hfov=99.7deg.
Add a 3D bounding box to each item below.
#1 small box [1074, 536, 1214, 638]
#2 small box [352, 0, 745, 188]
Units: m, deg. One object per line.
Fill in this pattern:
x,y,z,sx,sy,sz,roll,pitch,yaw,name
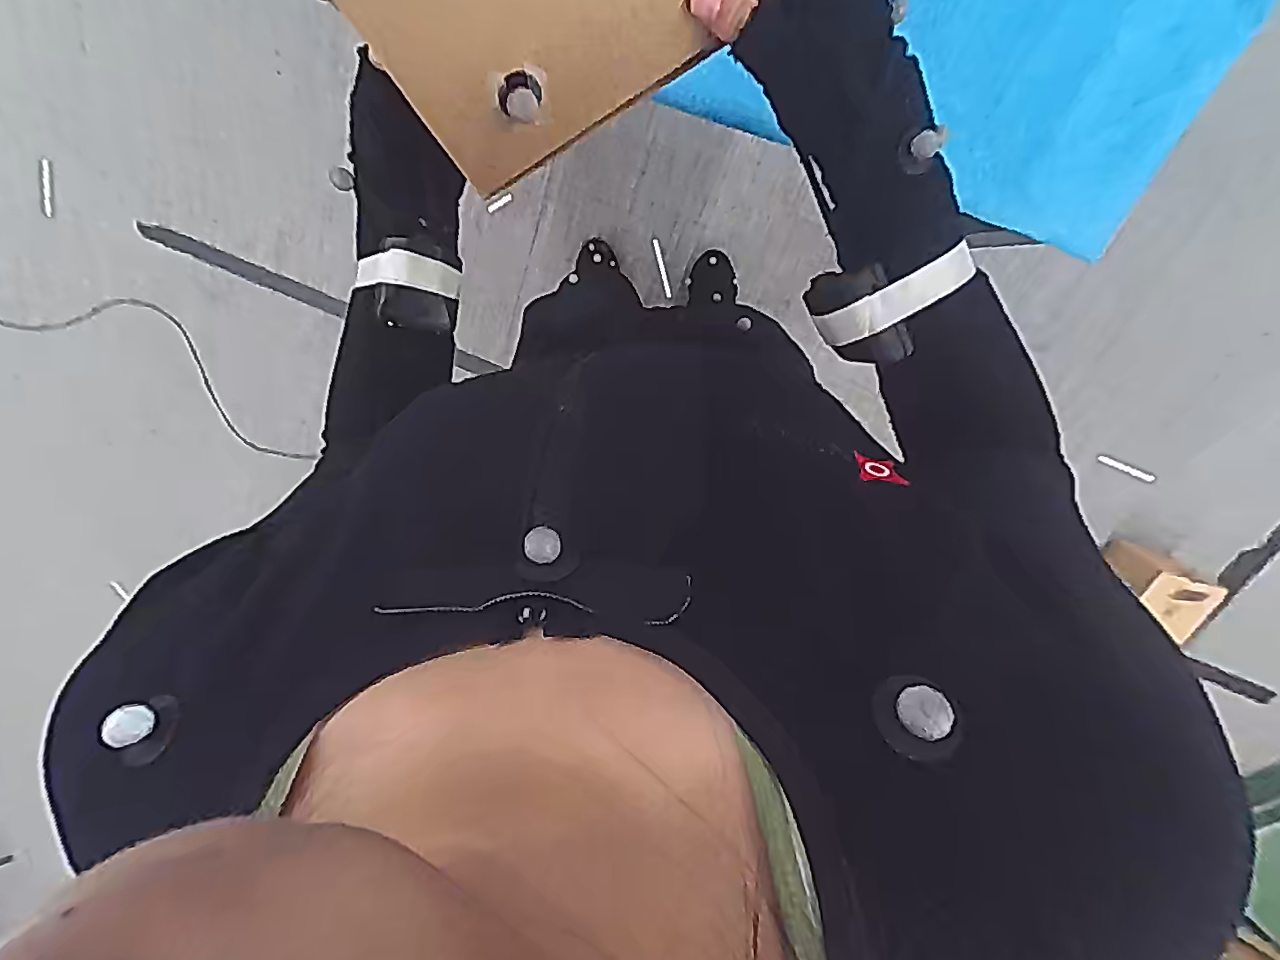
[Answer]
1.295,0.271,1.409,0.168,0.176,0.179,17,114,0,small box
-0.072,-0.296,0.256,0.179,0.176,0.168,-29,70,7,small box
